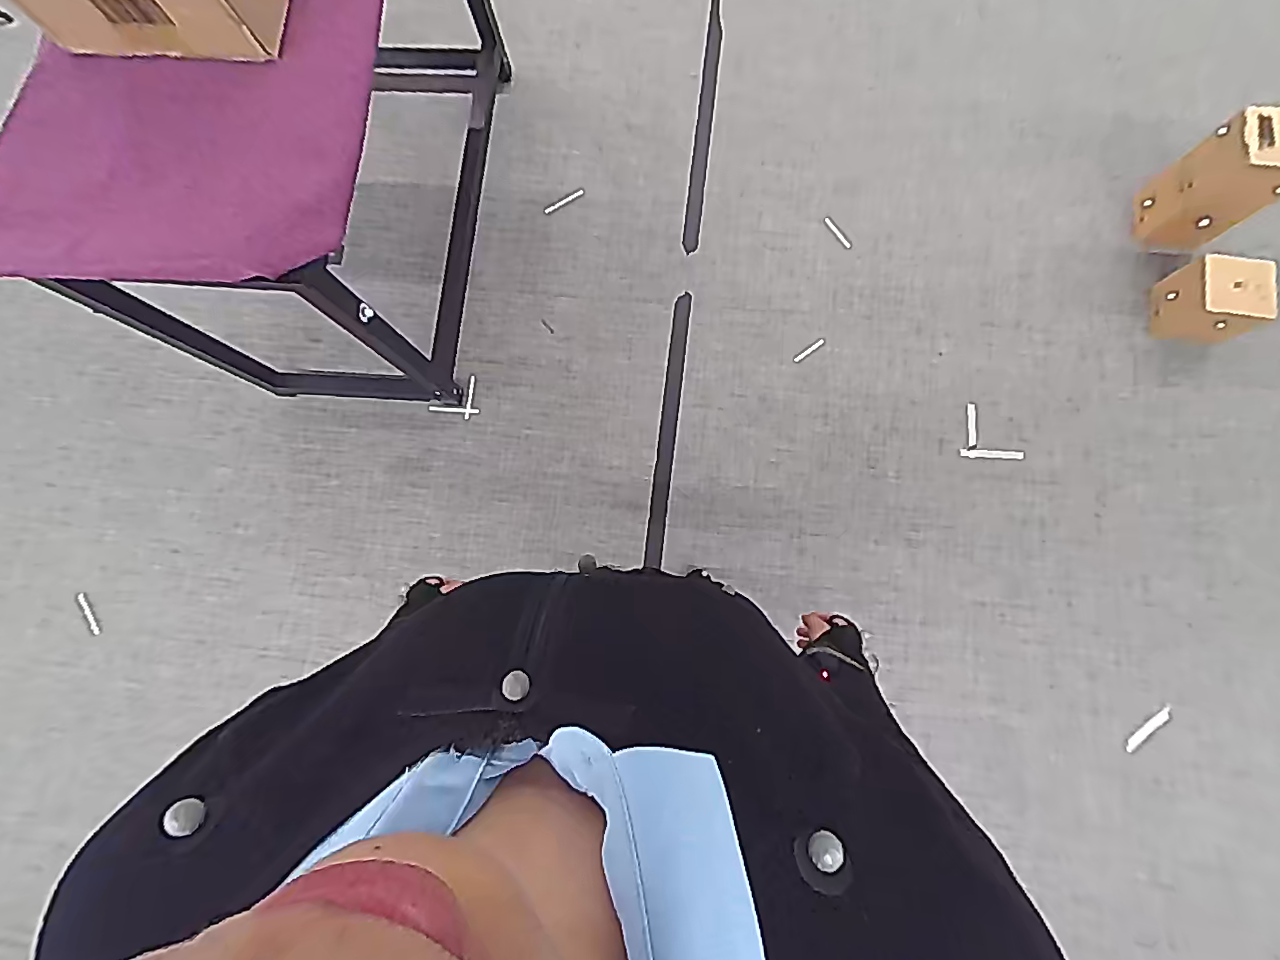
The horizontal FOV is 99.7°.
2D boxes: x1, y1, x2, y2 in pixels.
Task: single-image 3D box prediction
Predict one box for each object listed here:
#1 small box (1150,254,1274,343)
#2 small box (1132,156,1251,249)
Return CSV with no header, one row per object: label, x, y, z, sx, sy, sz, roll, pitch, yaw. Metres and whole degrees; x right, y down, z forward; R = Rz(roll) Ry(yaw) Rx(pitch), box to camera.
small box,1.563,-0.492,1.489,0.179,0.176,0.168,9,81,4
small box,1.570,-0.786,1.545,0.179,0.176,0.168,8,80,4
